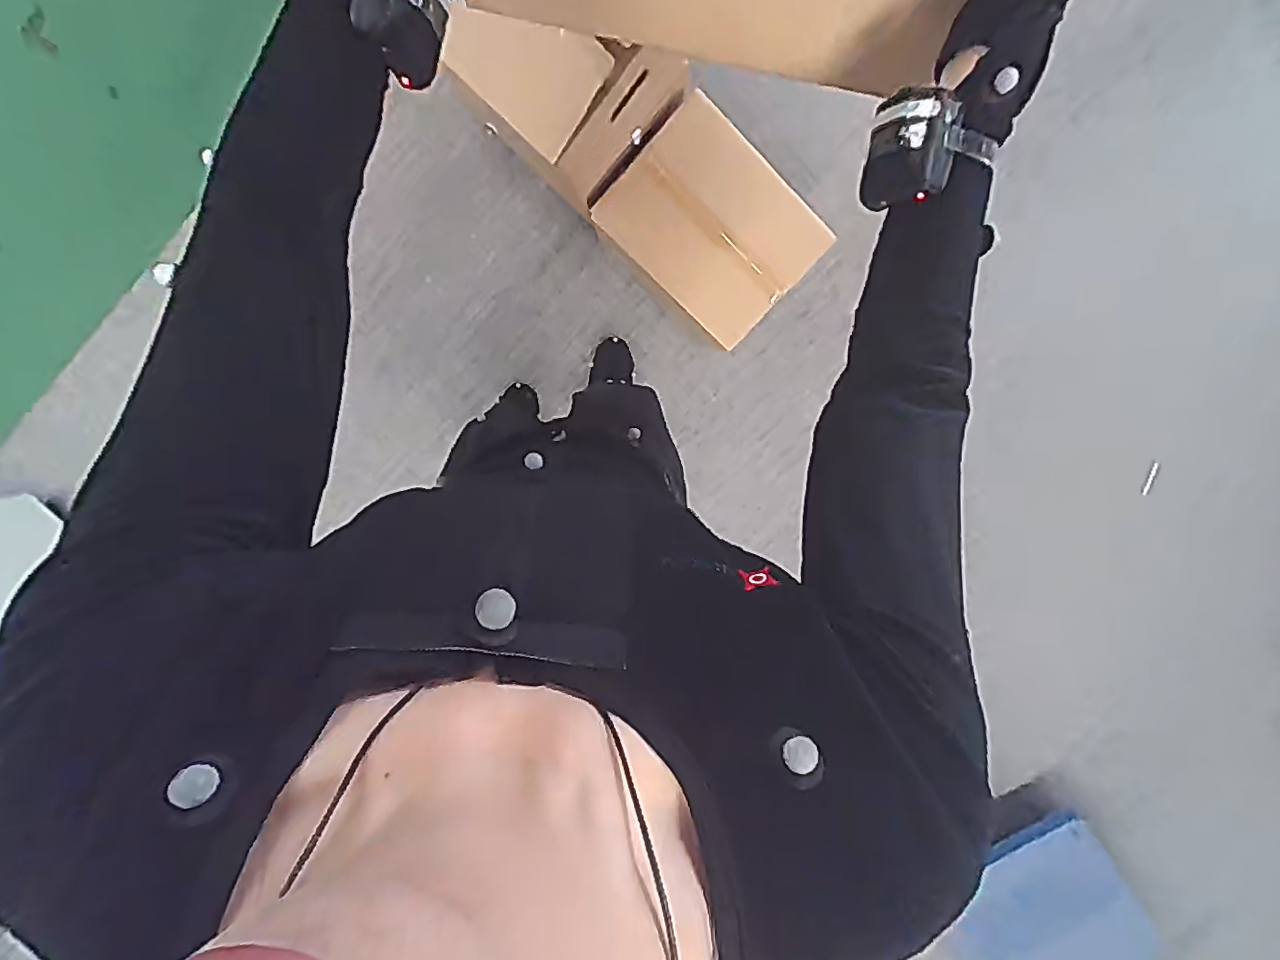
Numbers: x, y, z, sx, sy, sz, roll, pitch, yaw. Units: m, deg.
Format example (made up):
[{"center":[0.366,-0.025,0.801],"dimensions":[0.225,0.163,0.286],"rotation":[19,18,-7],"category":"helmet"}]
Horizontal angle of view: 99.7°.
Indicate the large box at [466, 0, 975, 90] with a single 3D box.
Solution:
[{"center":[0.091,-0.559,0.408],"dimensions":[0.408,0.320,0.320],"rotation":[14,144,4],"category":"large box"}]
